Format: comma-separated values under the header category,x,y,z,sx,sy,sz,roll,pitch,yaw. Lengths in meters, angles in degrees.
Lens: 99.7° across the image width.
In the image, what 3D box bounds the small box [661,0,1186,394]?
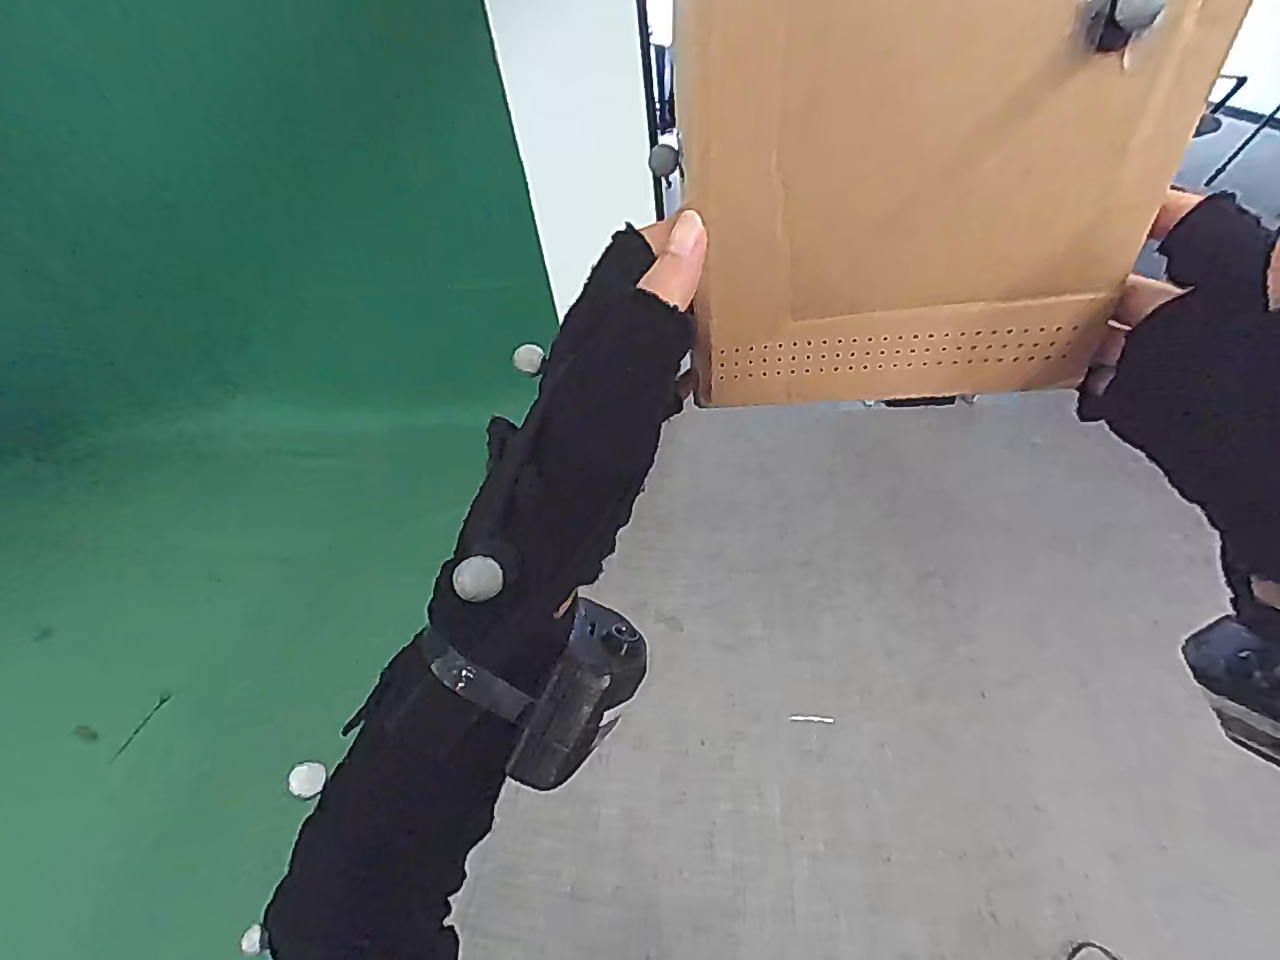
category,x,y,z,sx,sy,sz,roll,pitch,yaw
small box,0.104,-0.153,0.270,0.179,0.176,0.168,-2,38,4
